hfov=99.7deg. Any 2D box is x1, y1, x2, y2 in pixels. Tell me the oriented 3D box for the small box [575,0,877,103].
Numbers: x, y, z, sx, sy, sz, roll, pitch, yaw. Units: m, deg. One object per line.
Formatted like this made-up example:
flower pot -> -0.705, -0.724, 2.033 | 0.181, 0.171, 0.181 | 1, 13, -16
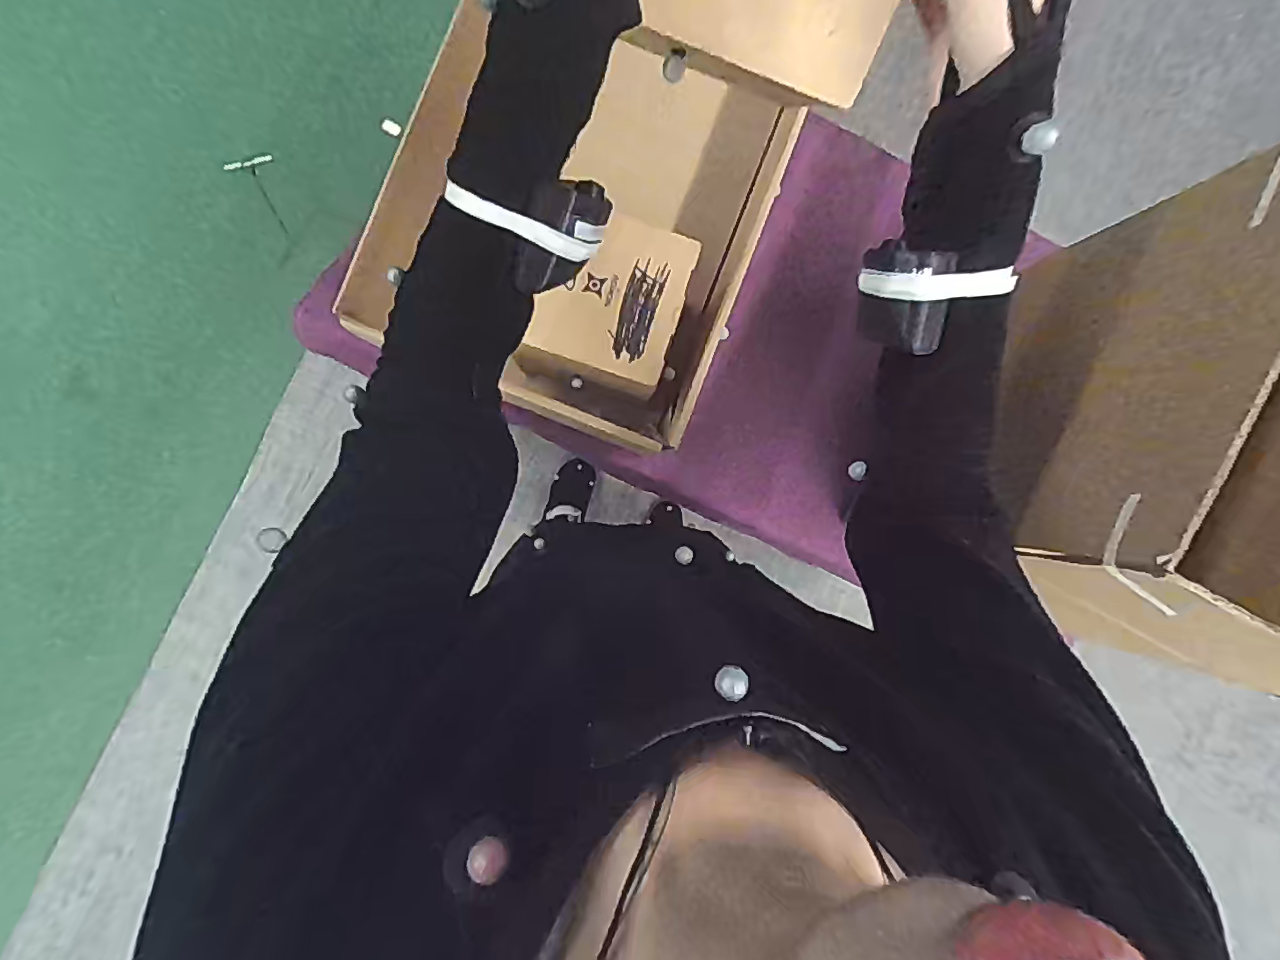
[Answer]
small box -> 0.068, -0.356, 0.328 | 0.168, 0.176, 0.179 | 16, 123, -8
